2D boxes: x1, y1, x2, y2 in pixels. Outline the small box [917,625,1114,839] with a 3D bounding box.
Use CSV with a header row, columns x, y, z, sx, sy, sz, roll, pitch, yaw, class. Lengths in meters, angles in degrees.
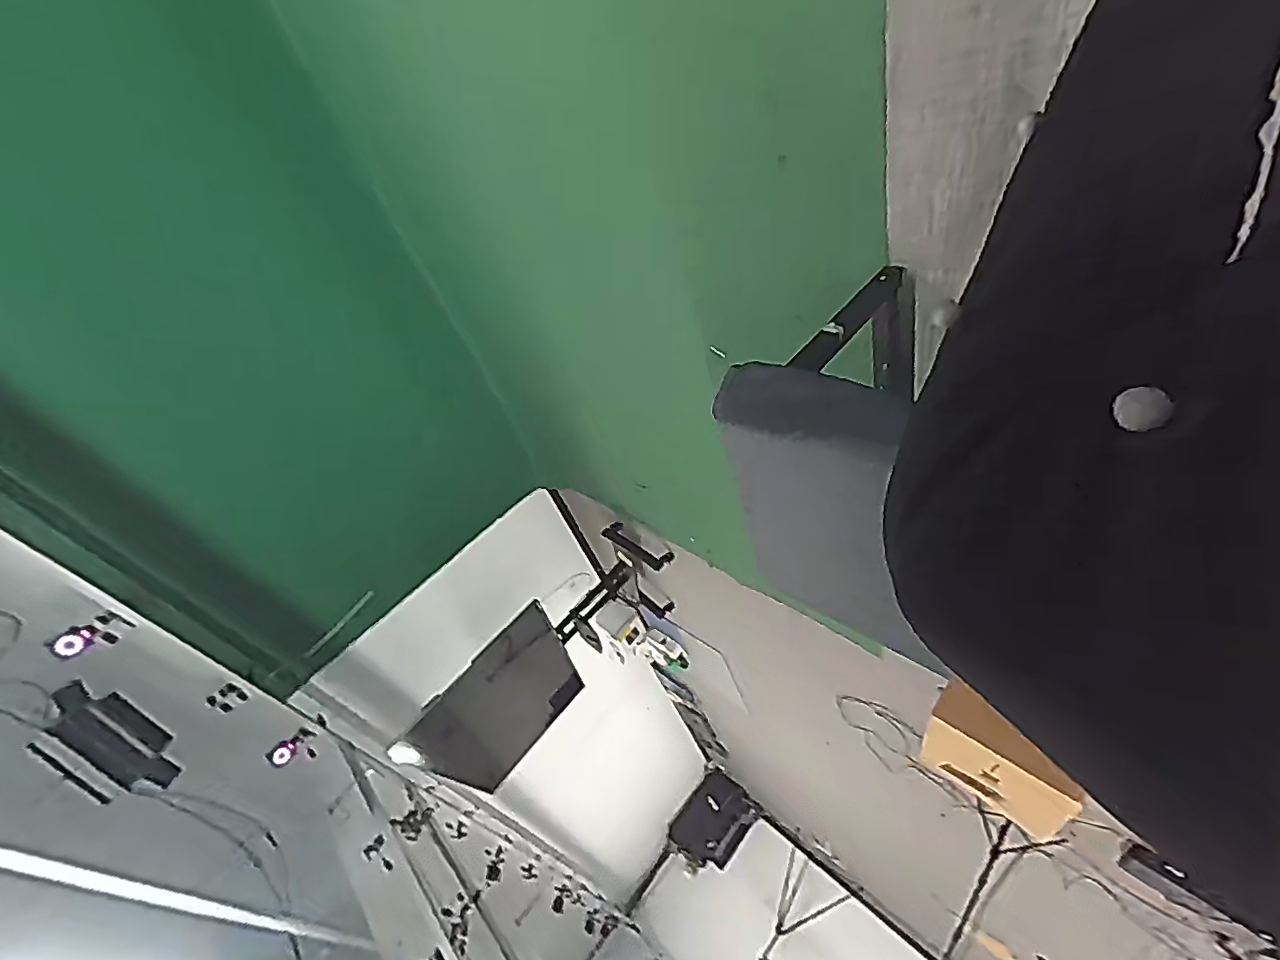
x,y,z,sx,sy,sz,roll,pitch,yaw,class
0.502,0.336,0.737,0.168,0.176,0.179,27,152,43,small box
